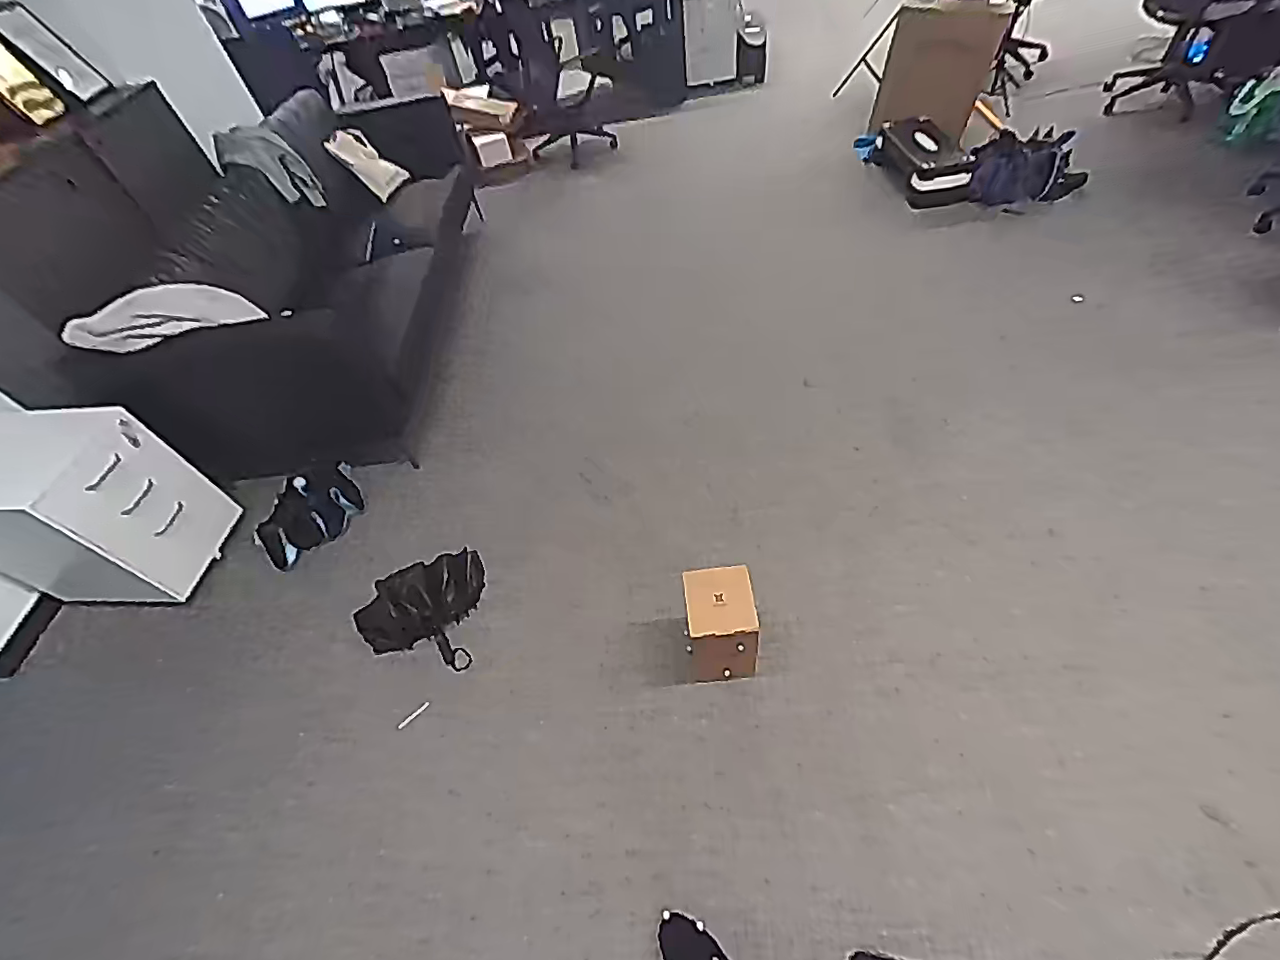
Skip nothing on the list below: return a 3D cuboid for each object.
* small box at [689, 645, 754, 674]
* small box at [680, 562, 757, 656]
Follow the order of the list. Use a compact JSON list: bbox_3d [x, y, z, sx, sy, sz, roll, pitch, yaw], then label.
[{"bbox_3d":[0.218,0.425,1.490,0.168,0.176,0.179,-9,53,3],"label":"small box"},{"bbox_3d":[0.196,0.330,1.359,0.168,0.176,0.179,-8,51,3],"label":"small box"}]
